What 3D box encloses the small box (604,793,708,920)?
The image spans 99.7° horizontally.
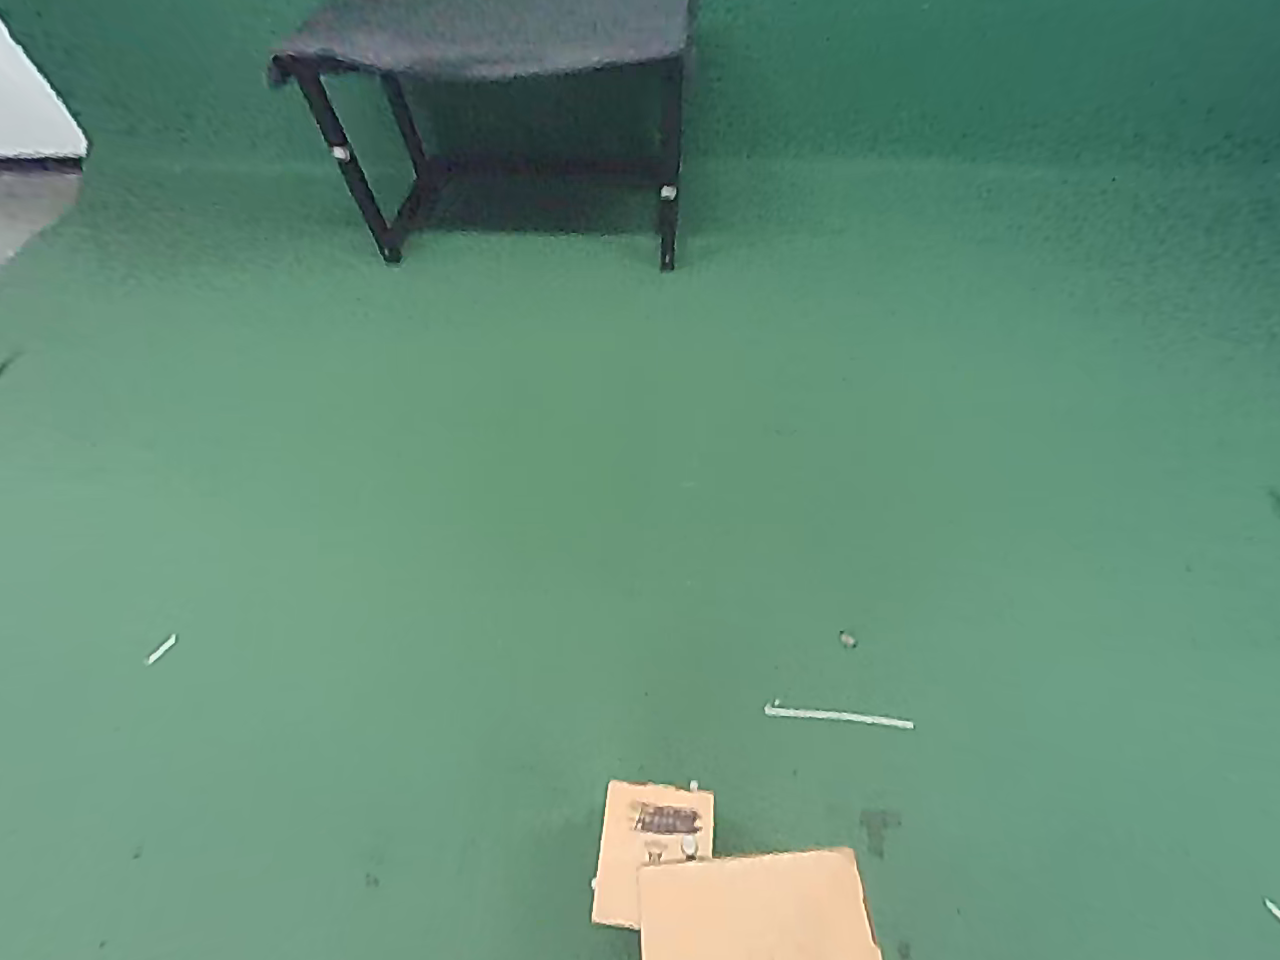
[{"bbox_3d":[0.036,0.687,0.985,0.168,0.176,0.179,3,54,6],"label":"small box"}]

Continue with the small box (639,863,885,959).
[{"bbox_3d":[0.092,0.415,0.436,0.179,0.176,0.168,-3,57,-1],"label":"small box"}]
